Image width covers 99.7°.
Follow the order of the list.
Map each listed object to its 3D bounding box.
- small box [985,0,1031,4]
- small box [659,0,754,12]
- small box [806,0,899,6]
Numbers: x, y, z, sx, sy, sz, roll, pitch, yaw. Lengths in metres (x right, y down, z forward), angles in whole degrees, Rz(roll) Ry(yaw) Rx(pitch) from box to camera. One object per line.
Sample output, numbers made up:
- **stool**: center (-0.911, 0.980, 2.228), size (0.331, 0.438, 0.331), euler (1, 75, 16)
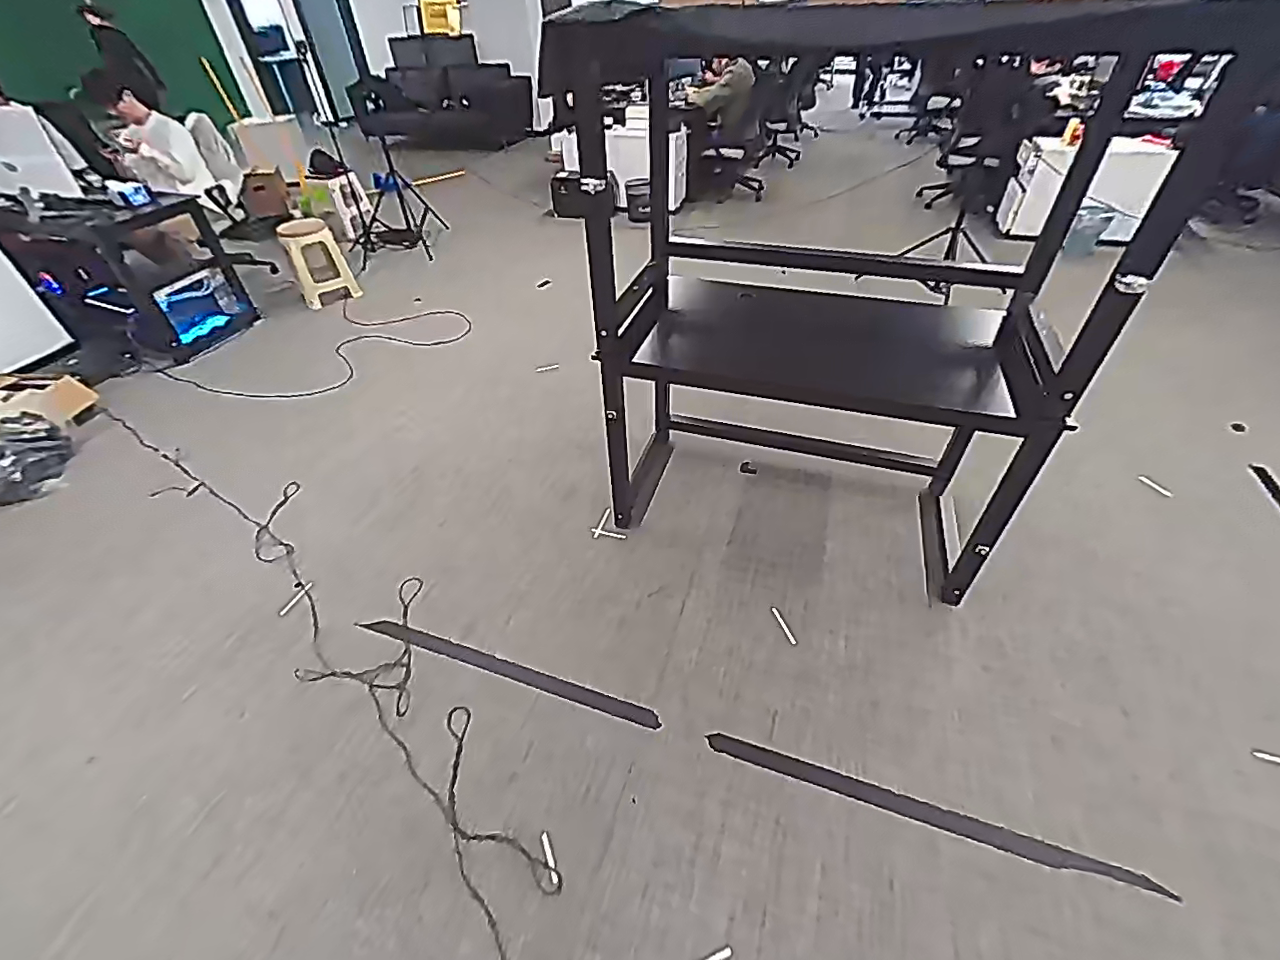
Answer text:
- **small box**: center (0.679, -0.891, 0.876), size (0.168, 0.176, 0.179), euler (14, 43, 18)
- **small box**: center (0.134, -0.997, 1.017), size (0.168, 0.176, 0.179), euler (12, 43, 13)
- **small box**: center (0.394, -0.947, 0.948), size (0.168, 0.176, 0.179), euler (12, 42, 16)
